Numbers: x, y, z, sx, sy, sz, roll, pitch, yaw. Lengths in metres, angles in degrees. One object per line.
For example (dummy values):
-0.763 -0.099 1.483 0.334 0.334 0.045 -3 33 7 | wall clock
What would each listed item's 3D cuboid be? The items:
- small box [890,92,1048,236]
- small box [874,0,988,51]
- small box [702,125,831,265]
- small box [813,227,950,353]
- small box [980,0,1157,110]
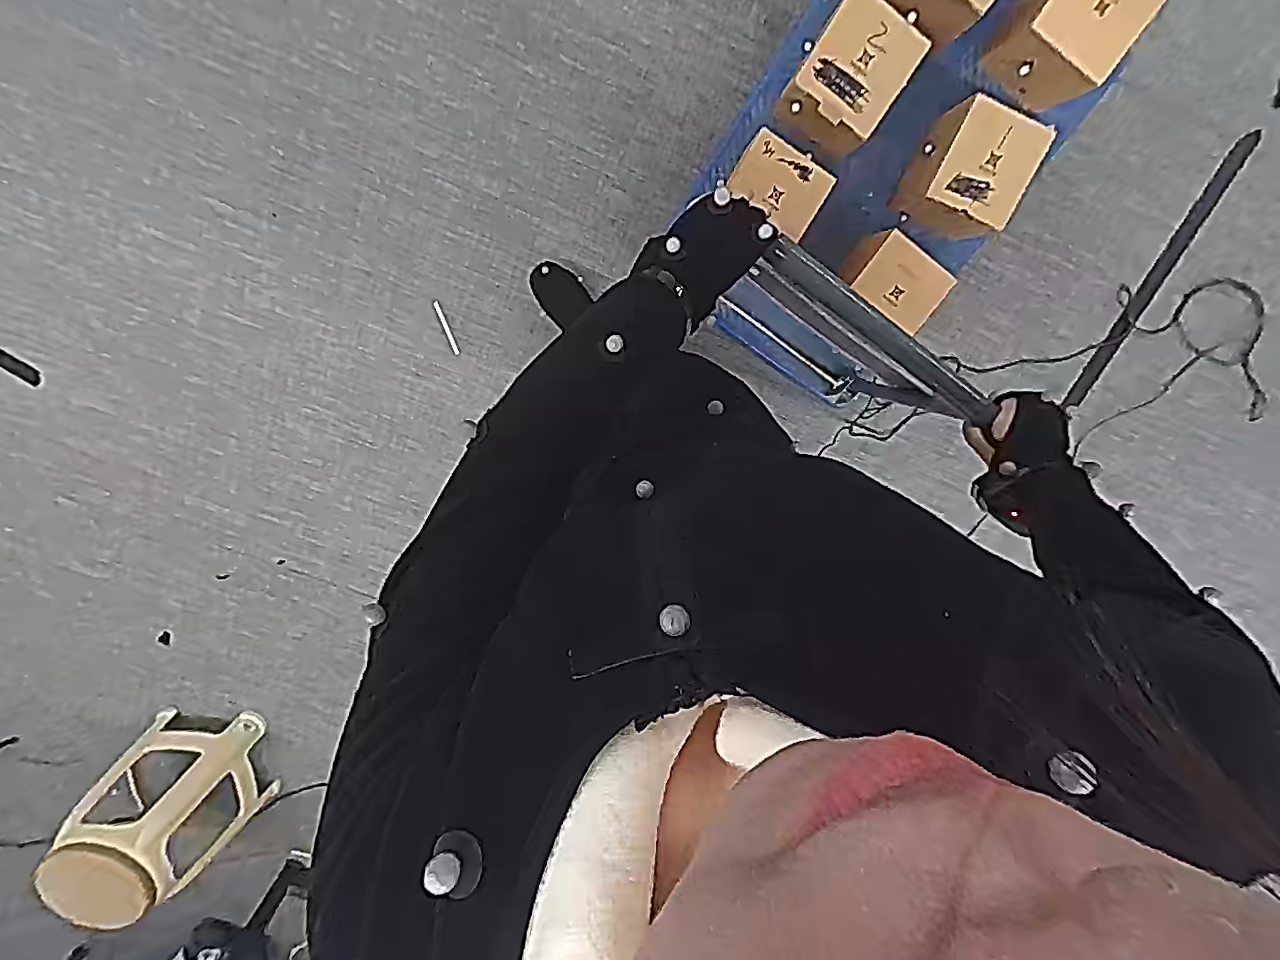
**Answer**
0.620 -0.596 1.050 0.168 0.176 0.179 22 106 -7 | small box
0.548 -0.913 0.940 0.168 0.176 0.179 35 106 -11 | small box
0.236 -0.544 1.065 0.168 0.176 0.179 30 106 -11 | small box
0.484 -0.388 1.121 0.168 0.176 0.179 34 105 -11 | small box
0.760 -0.818 0.976 0.168 0.176 0.179 30 106 -10 | small box
